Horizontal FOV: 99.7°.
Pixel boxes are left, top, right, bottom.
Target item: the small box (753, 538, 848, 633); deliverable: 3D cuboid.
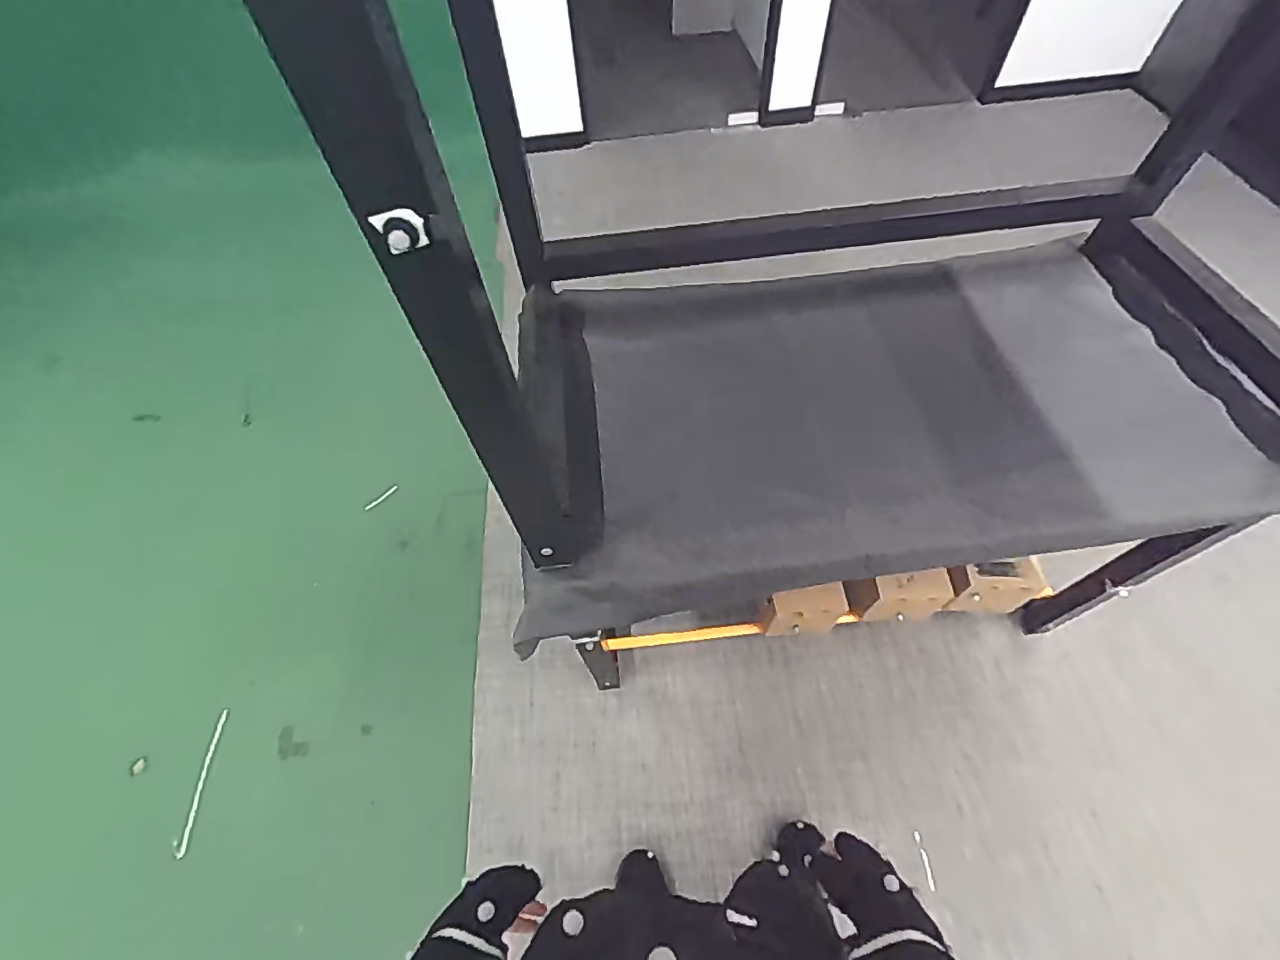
[{"bbox_3d":[0.377,0.257,1.306,0.168,0.176,0.179,-5,59,0],"label":"small box"}]
